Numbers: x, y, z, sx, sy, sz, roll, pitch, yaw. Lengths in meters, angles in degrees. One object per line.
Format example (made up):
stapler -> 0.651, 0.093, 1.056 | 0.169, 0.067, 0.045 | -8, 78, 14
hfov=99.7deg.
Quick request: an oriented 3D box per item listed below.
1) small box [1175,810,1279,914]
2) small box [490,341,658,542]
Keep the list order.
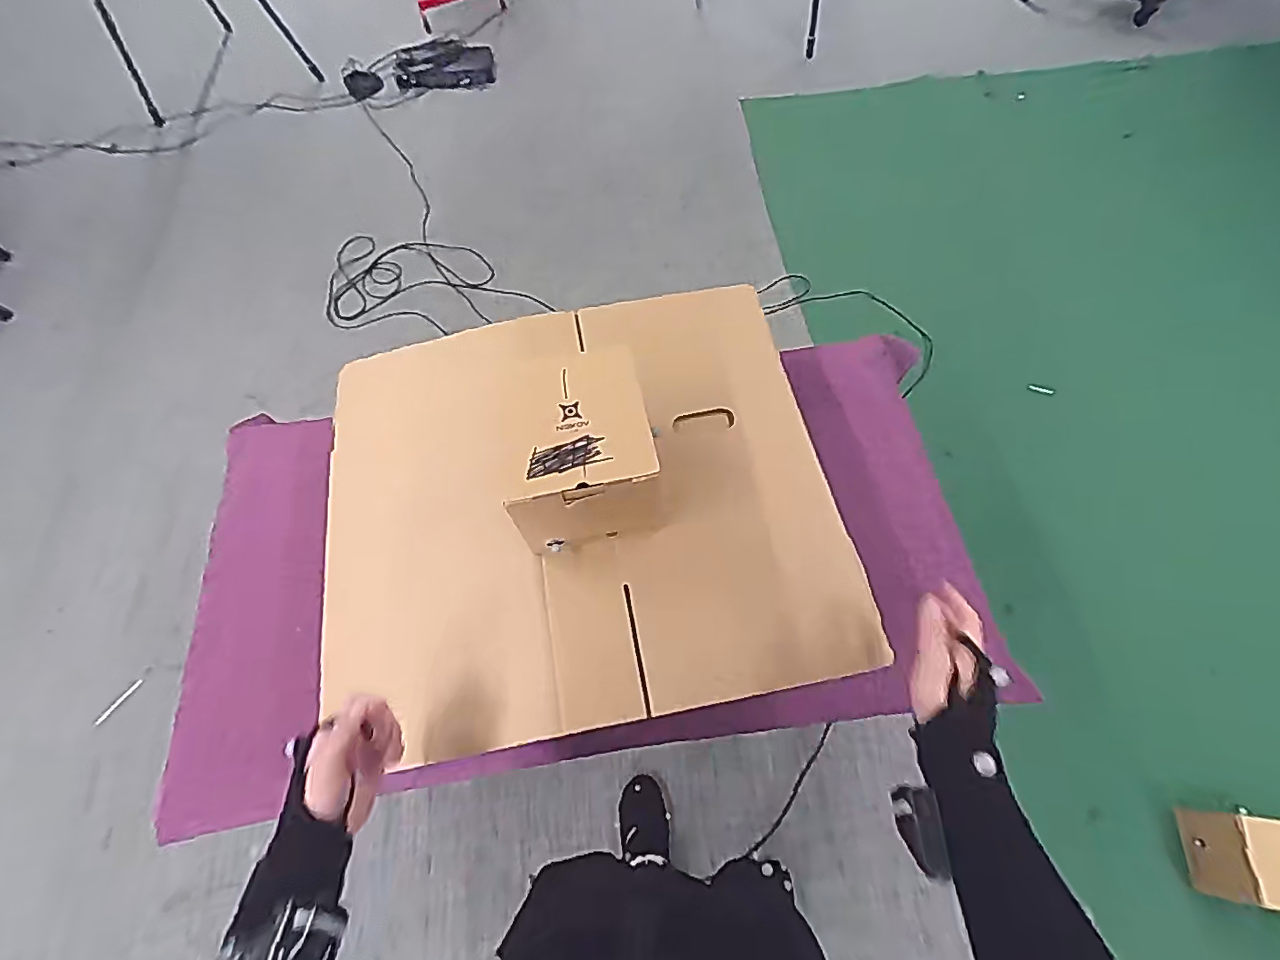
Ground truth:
small box -> 1.351, 0.836, 1.184 | 0.179, 0.176, 0.168 | 5, 65, 6
small box -> -0.073, -0.035, 0.652 | 0.168, 0.176, 0.179 | -10, 64, -4
